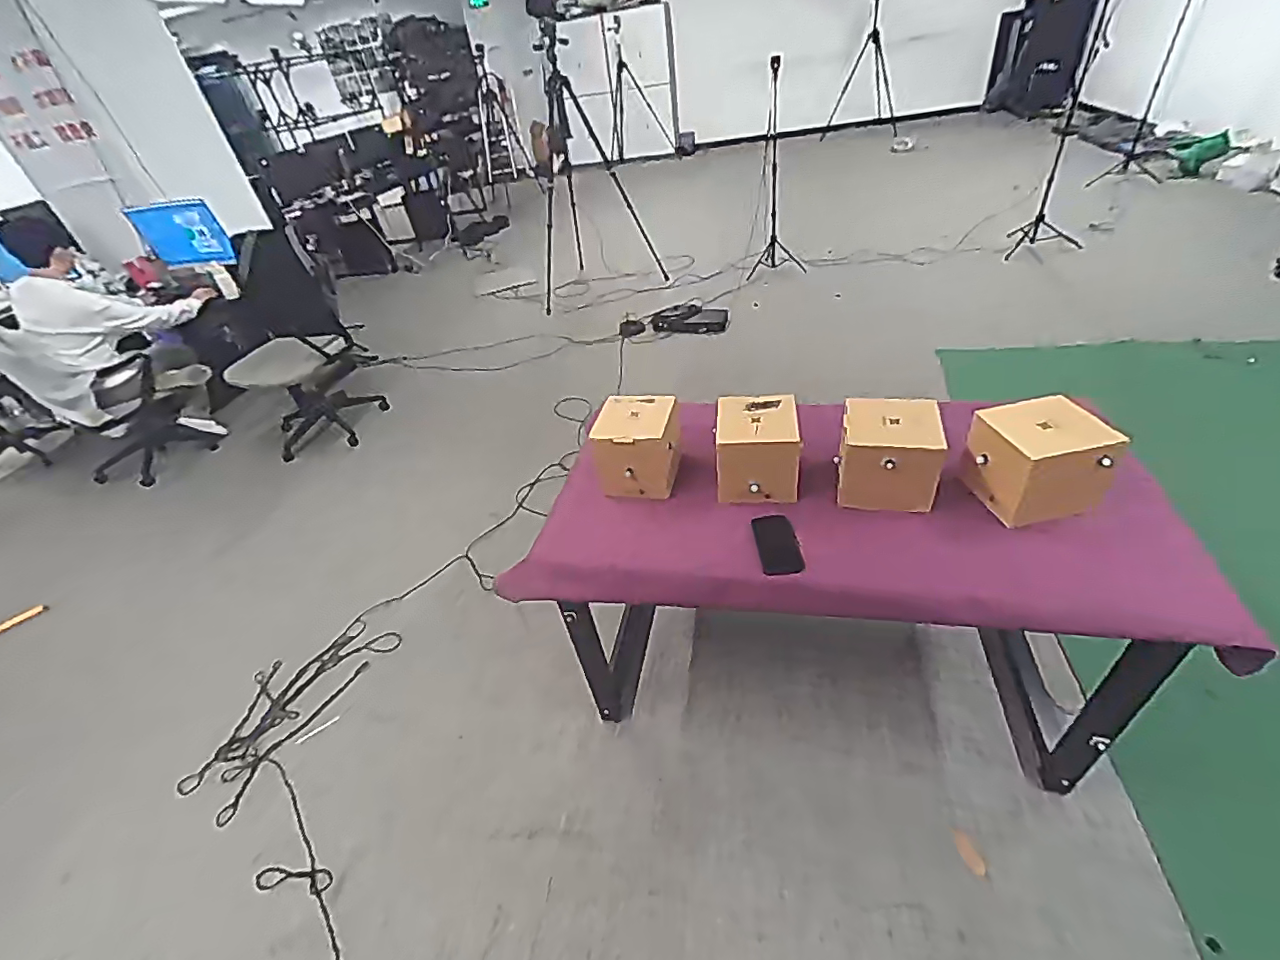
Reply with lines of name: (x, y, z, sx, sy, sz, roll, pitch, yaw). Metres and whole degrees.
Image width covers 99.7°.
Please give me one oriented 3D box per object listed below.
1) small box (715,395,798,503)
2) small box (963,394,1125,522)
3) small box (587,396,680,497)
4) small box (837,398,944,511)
small box: (0.254, -0.069, 1.183, 0.168, 0.176, 0.179, -1, 41, 12)
small box: (0.749, -0.039, 1.032, 0.179, 0.176, 0.168, -11, 38, -1)
small box: (-0.005, -0.077, 1.253, 0.168, 0.176, 0.179, 3, 41, 16)
small box: (0.502, -0.053, 1.108, 0.179, 0.176, 0.168, 5, 42, 18)
